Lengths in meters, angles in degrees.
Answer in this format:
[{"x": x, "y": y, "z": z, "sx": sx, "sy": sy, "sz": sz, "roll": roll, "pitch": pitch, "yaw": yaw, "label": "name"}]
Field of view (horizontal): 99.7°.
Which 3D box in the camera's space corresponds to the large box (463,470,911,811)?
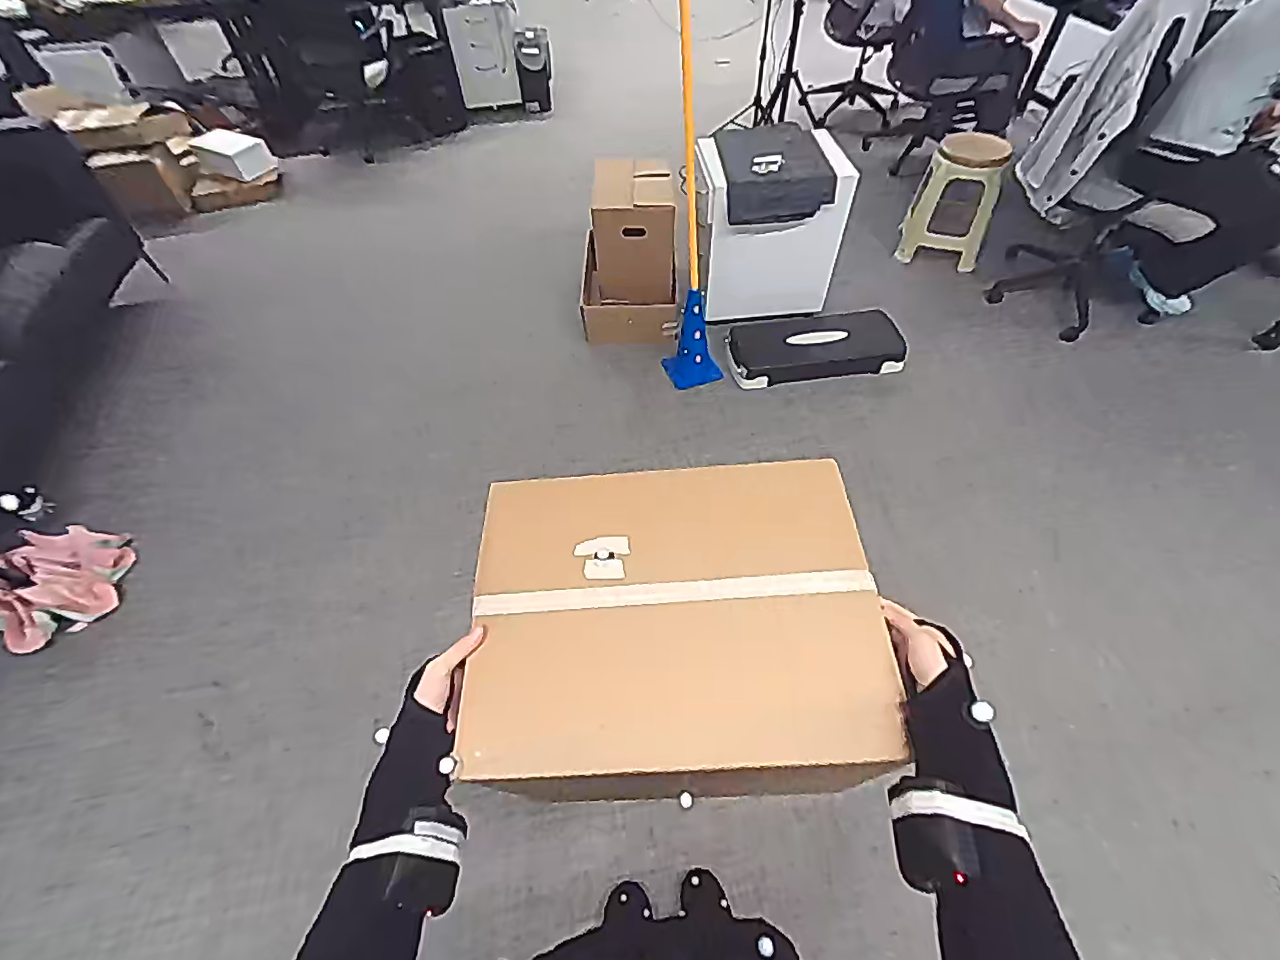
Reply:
[{"x": 0.046, "y": 0.216, "z": 0.678, "sx": 0.408, "sy": 0.320, "sz": 0.320, "roll": -5, "pitch": 54, "yaw": 4, "label": "large box"}]
